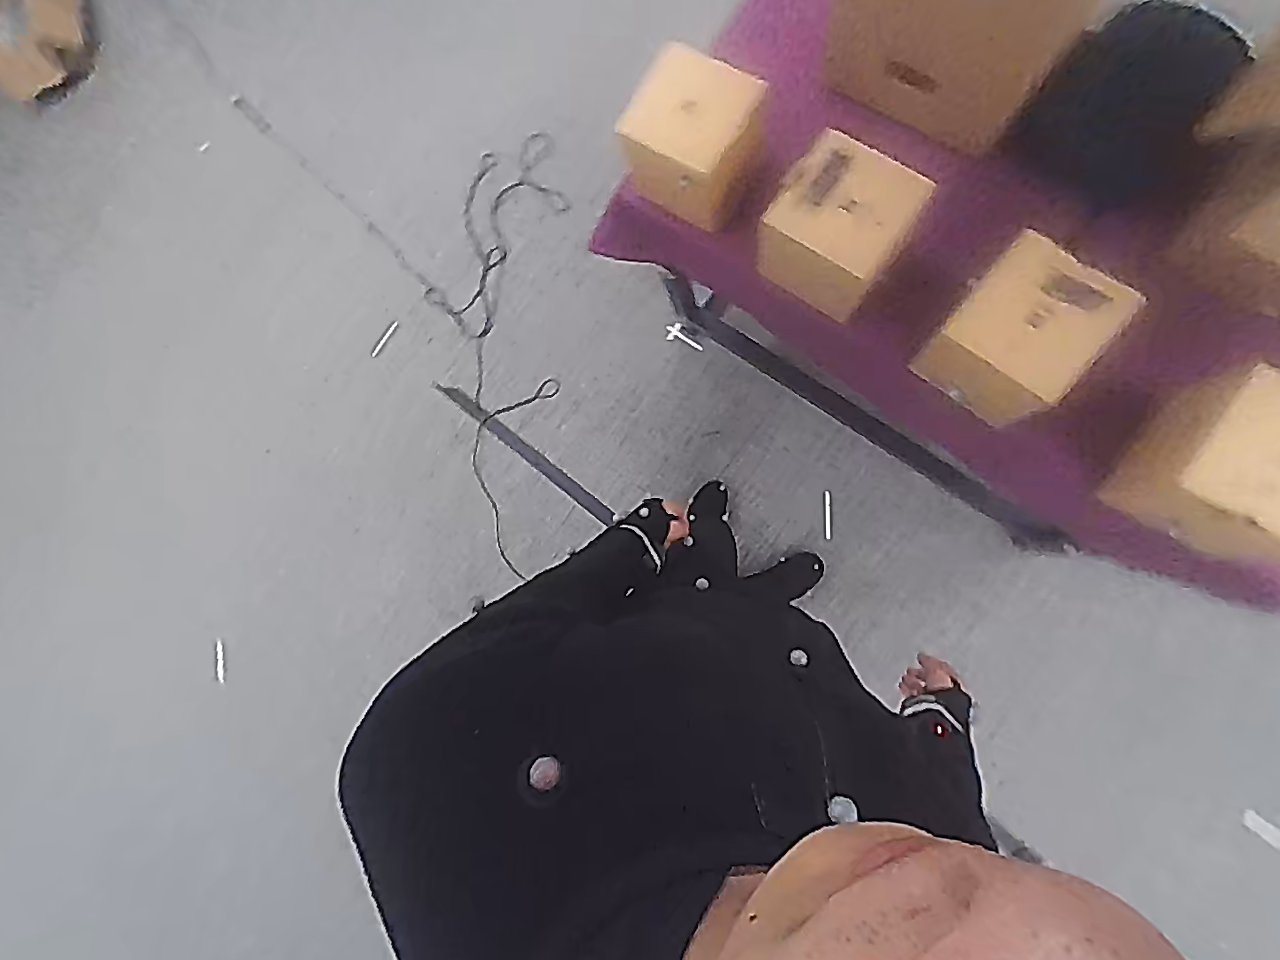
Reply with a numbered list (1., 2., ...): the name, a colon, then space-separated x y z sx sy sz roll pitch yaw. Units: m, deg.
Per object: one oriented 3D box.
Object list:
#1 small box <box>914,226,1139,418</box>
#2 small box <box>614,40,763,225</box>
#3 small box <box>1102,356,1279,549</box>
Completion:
1. small box: 0.531 -0.214 0.778 0.168 0.176 0.179 40 94 13
2. small box: 0.086 -0.566 0.904 0.179 0.176 0.168 33 92 11
3. small box: 0.772 -0.027 0.709 0.168 0.176 0.179 34 93 14
